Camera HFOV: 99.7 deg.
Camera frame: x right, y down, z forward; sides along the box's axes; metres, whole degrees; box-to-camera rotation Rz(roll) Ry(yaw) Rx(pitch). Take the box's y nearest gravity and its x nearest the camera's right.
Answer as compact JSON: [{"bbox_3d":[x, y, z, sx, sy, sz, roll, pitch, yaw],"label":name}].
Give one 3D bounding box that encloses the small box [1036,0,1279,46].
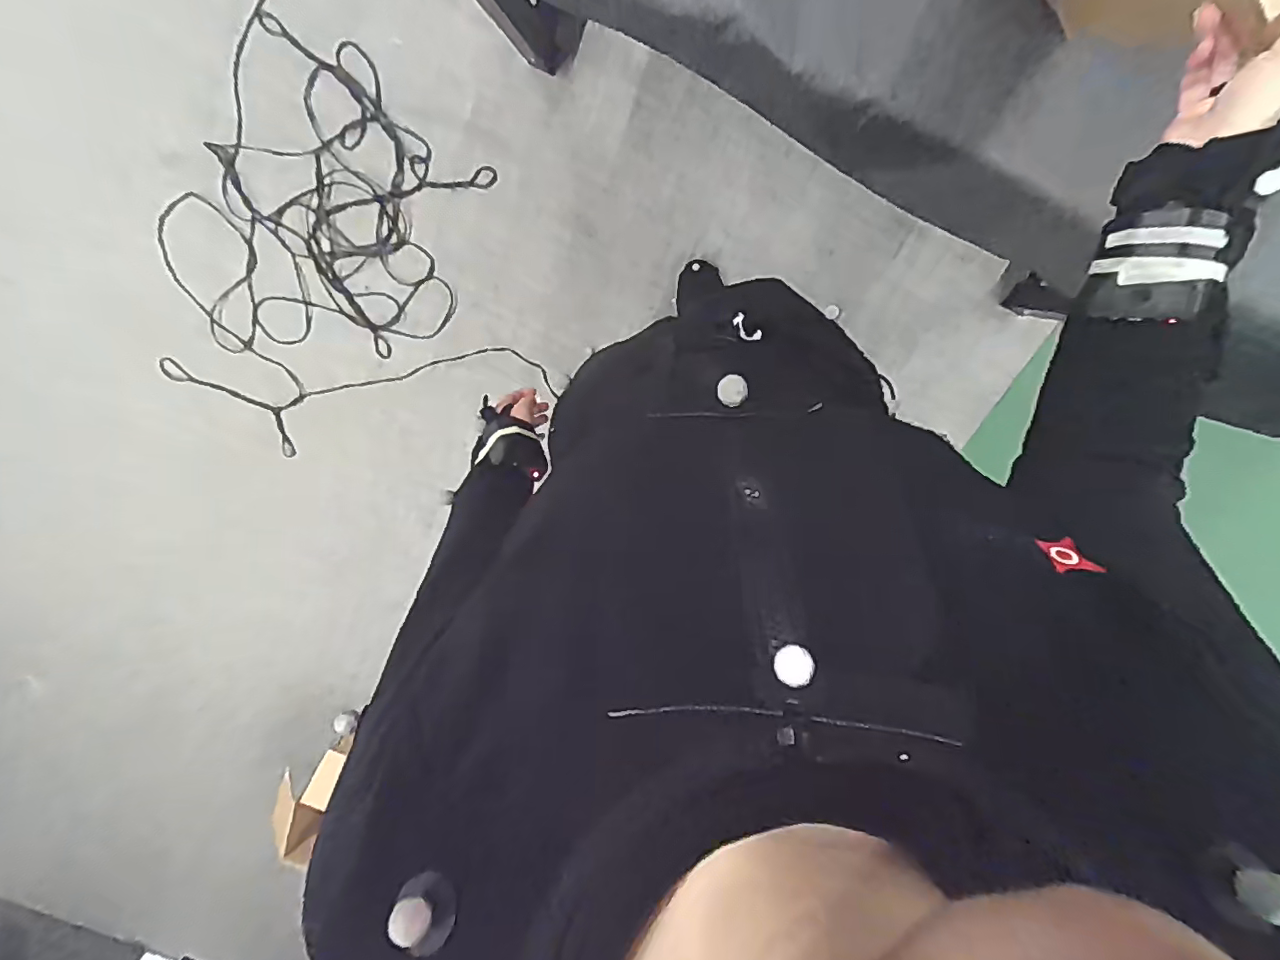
[{"bbox_3d":[0.353,-0.401,0.315,0.168,0.176,0.179,22,121,-26],"label":"small box"}]
